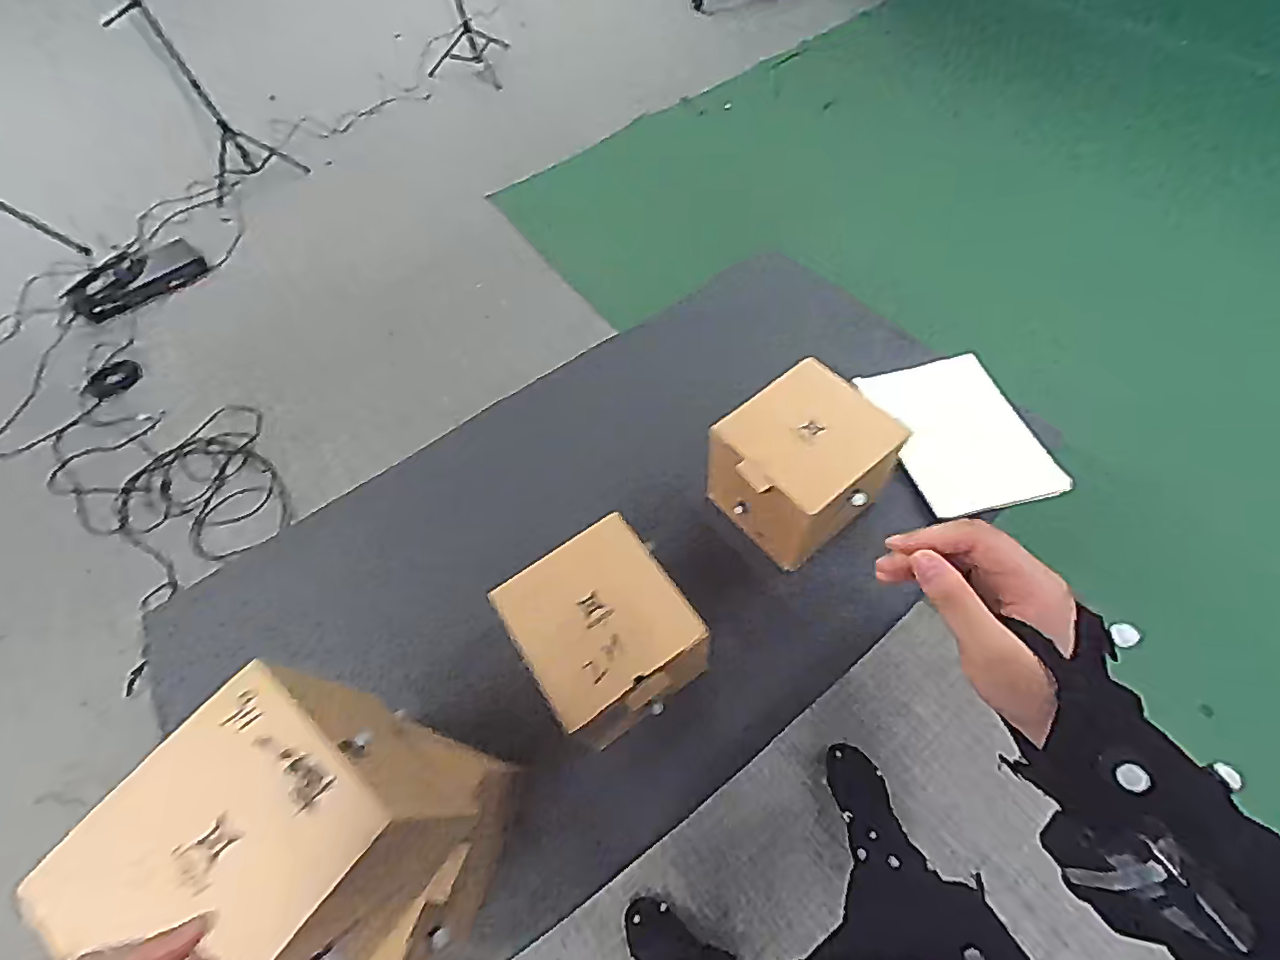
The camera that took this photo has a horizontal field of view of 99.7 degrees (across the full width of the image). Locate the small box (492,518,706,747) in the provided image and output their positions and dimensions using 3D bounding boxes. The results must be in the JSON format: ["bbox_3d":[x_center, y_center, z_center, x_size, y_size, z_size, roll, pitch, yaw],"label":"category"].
[{"bbox_3d":[-0.040,0.183,0.629,0.168,0.176,0.179,-34,61,-12],"label":"small box"}]

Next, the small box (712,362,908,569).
[{"bbox_3d":[0.209,-0.015,0.719,0.179,0.176,0.168,-37,62,-14],"label":"small box"}]

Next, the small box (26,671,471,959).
[{"bbox_3d":[-0.262,0.279,0.406,0.168,0.176,0.179,32,69,22],"label":"small box"}]
